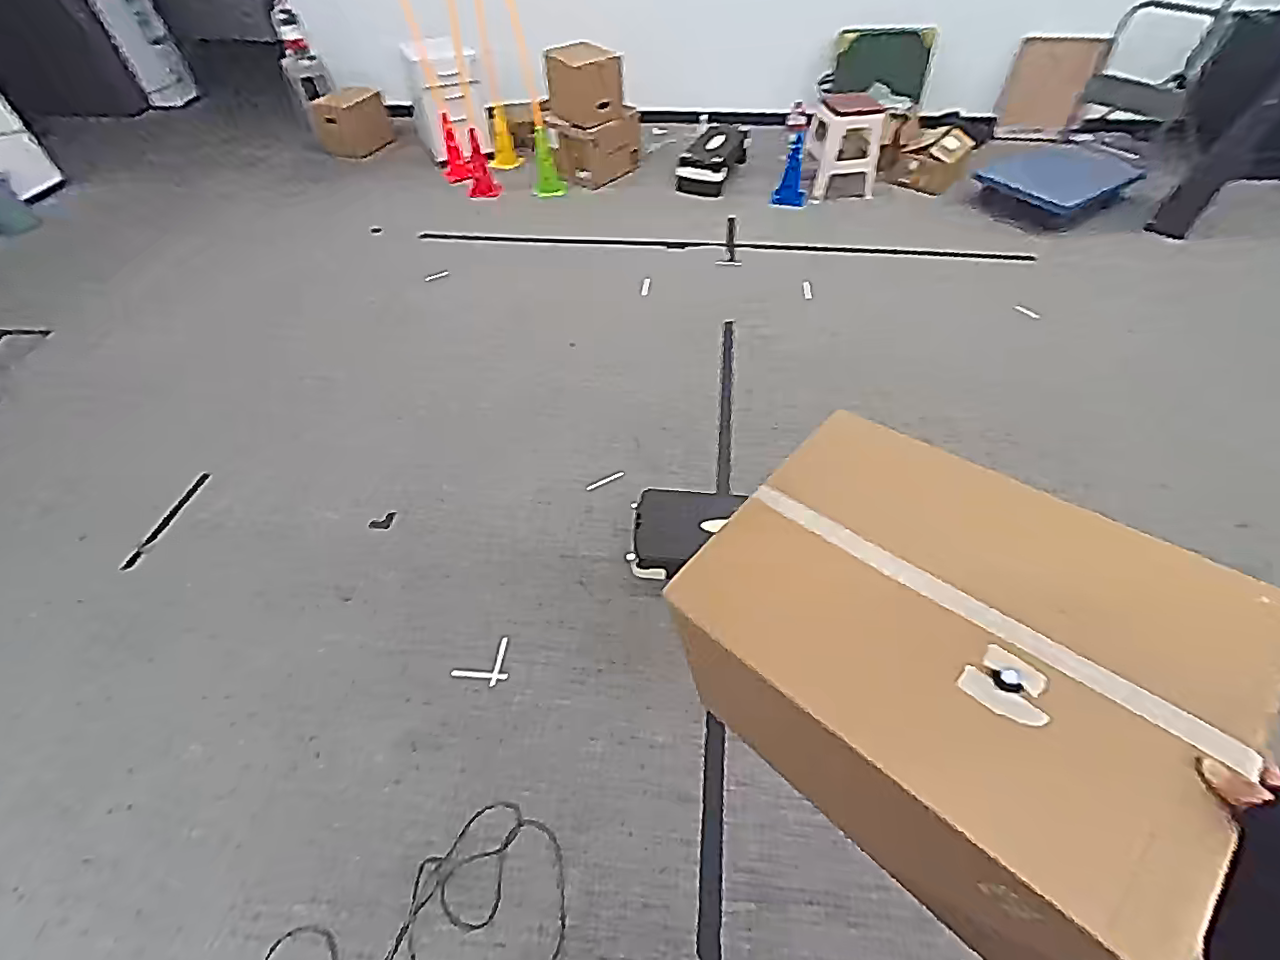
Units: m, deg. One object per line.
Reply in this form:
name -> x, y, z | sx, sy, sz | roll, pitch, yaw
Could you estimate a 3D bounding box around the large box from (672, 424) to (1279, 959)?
large box -> 0.298, 0.204, 0.594 | 0.408, 0.320, 0.320 | 32, 65, 35
